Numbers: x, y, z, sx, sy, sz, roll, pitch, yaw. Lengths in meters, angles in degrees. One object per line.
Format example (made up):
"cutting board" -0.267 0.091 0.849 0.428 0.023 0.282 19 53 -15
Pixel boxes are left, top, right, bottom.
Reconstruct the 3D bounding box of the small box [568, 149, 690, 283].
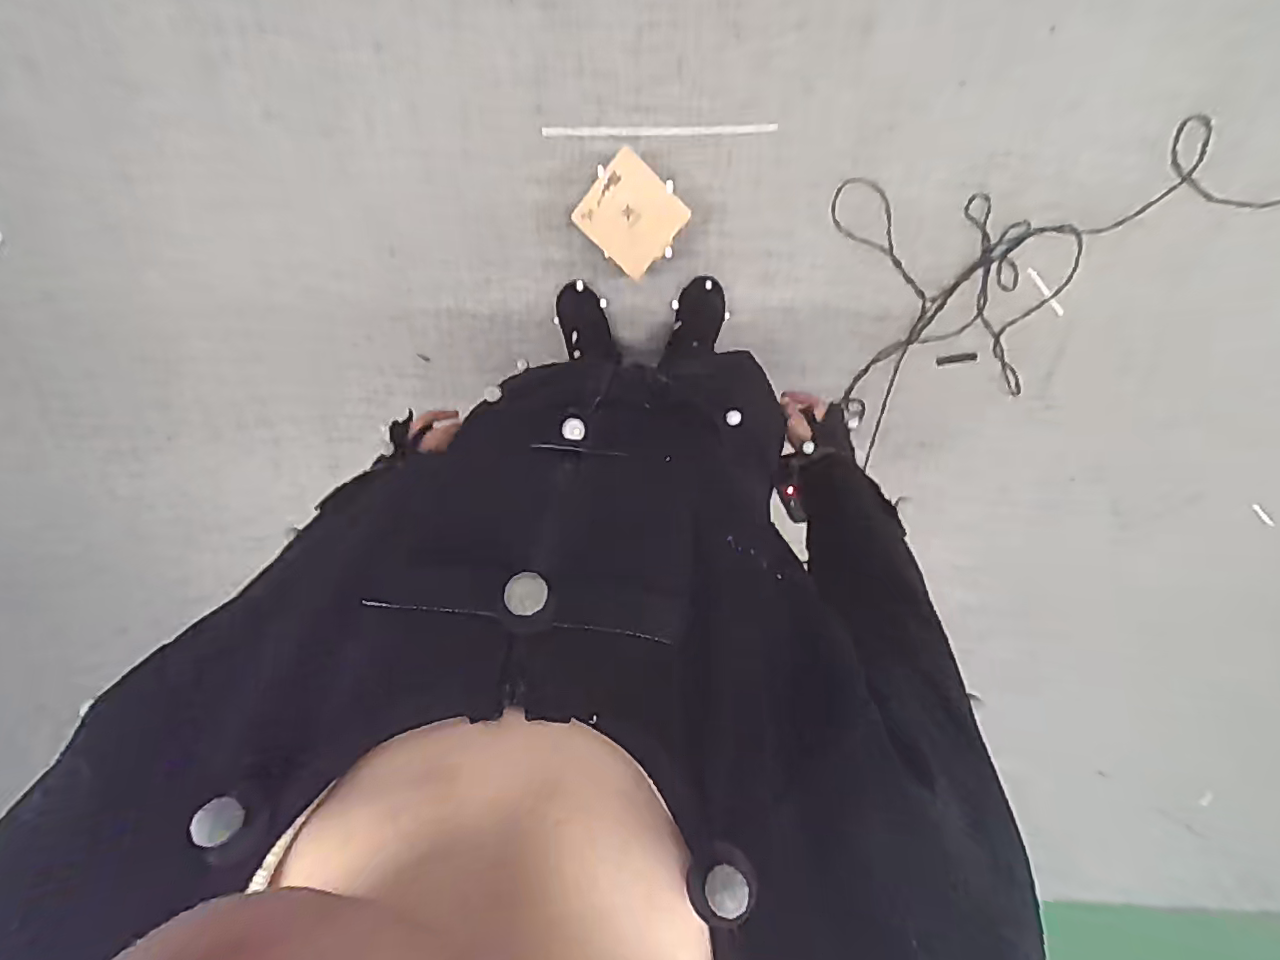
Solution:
"small box" -0.017 -0.531 1.099 0.179 0.176 0.168 40 110 -14
